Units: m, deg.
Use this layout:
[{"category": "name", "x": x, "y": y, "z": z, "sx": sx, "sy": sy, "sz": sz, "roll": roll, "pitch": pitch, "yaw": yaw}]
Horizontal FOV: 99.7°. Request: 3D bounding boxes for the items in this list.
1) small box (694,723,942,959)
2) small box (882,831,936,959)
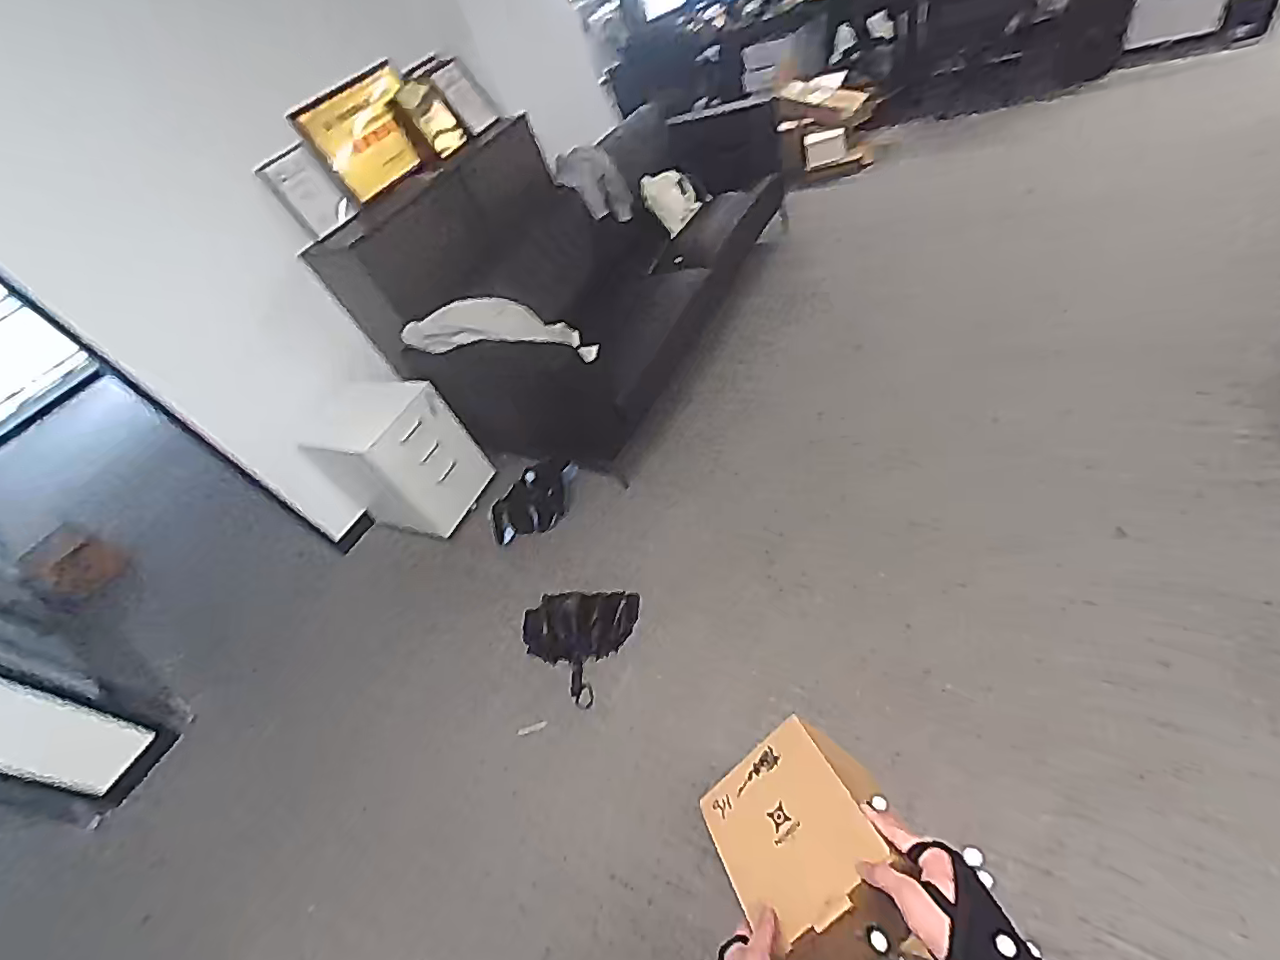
[{"category": "small box", "x": 0.199, "y": 0.423, "z": 0.617, "sx": 0.168, "sy": 0.176, "sz": 0.179, "roll": -46, "pitch": 30, "yaw": 6}, {"category": "small box", "x": 0.452, "y": 0.759, "z": 1.005, "sx": 0.168, "sy": 0.176, "sz": 0.179, "roll": 0, "pitch": 51, "yaw": 26}]
